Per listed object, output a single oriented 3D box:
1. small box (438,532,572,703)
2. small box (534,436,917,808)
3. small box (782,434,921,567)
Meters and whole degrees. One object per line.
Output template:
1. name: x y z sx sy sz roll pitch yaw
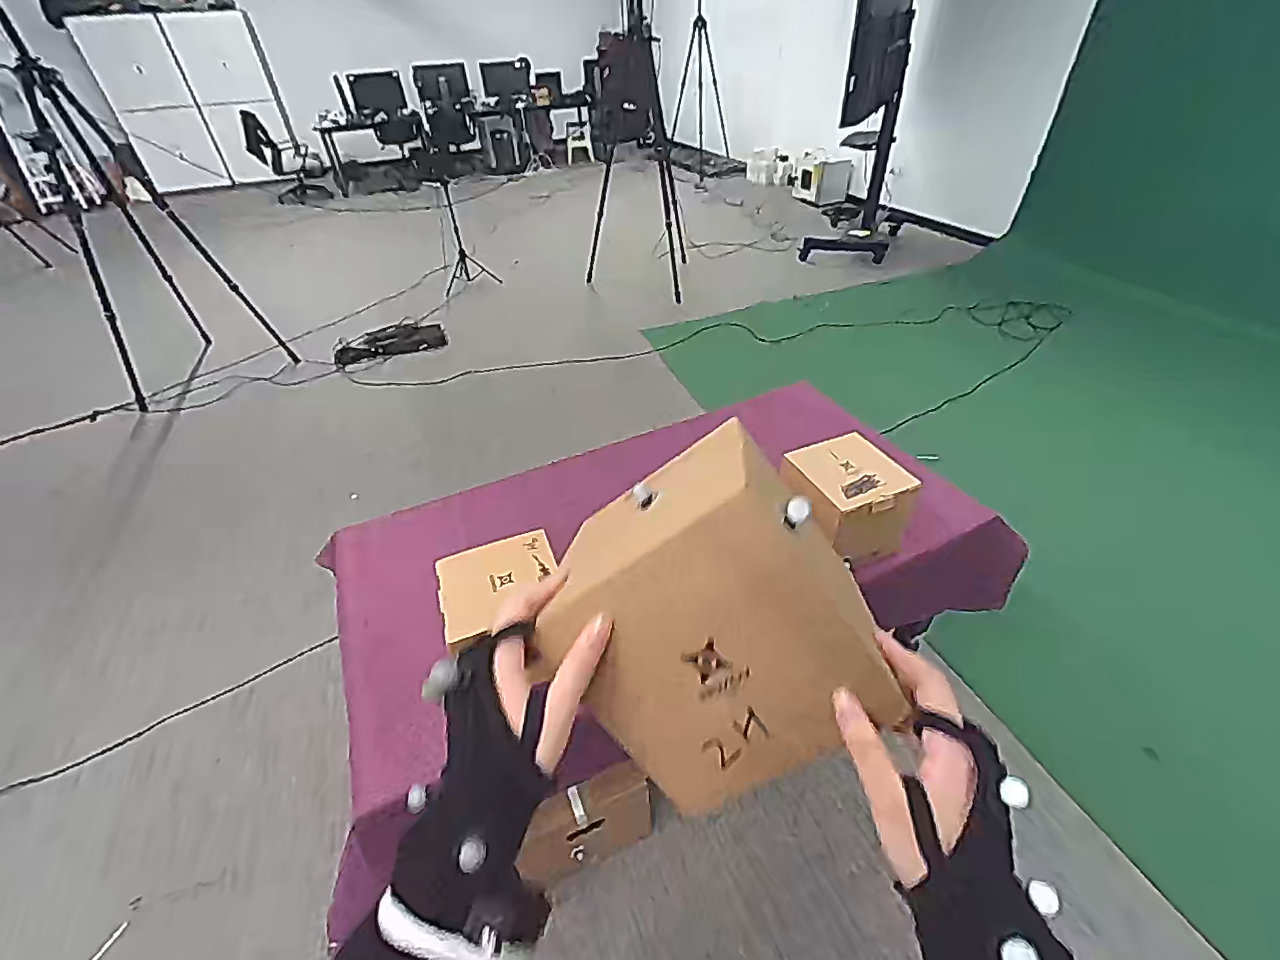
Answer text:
1. small box: -0.199 0.217 0.851 0.179 0.176 0.168 -17 42 -14
2. small box: 0.058 0.084 0.398 0.168 0.179 0.176 -35 10 18
3. small box: 0.375 0.046 1.004 0.168 0.176 0.179 -17 41 -14
